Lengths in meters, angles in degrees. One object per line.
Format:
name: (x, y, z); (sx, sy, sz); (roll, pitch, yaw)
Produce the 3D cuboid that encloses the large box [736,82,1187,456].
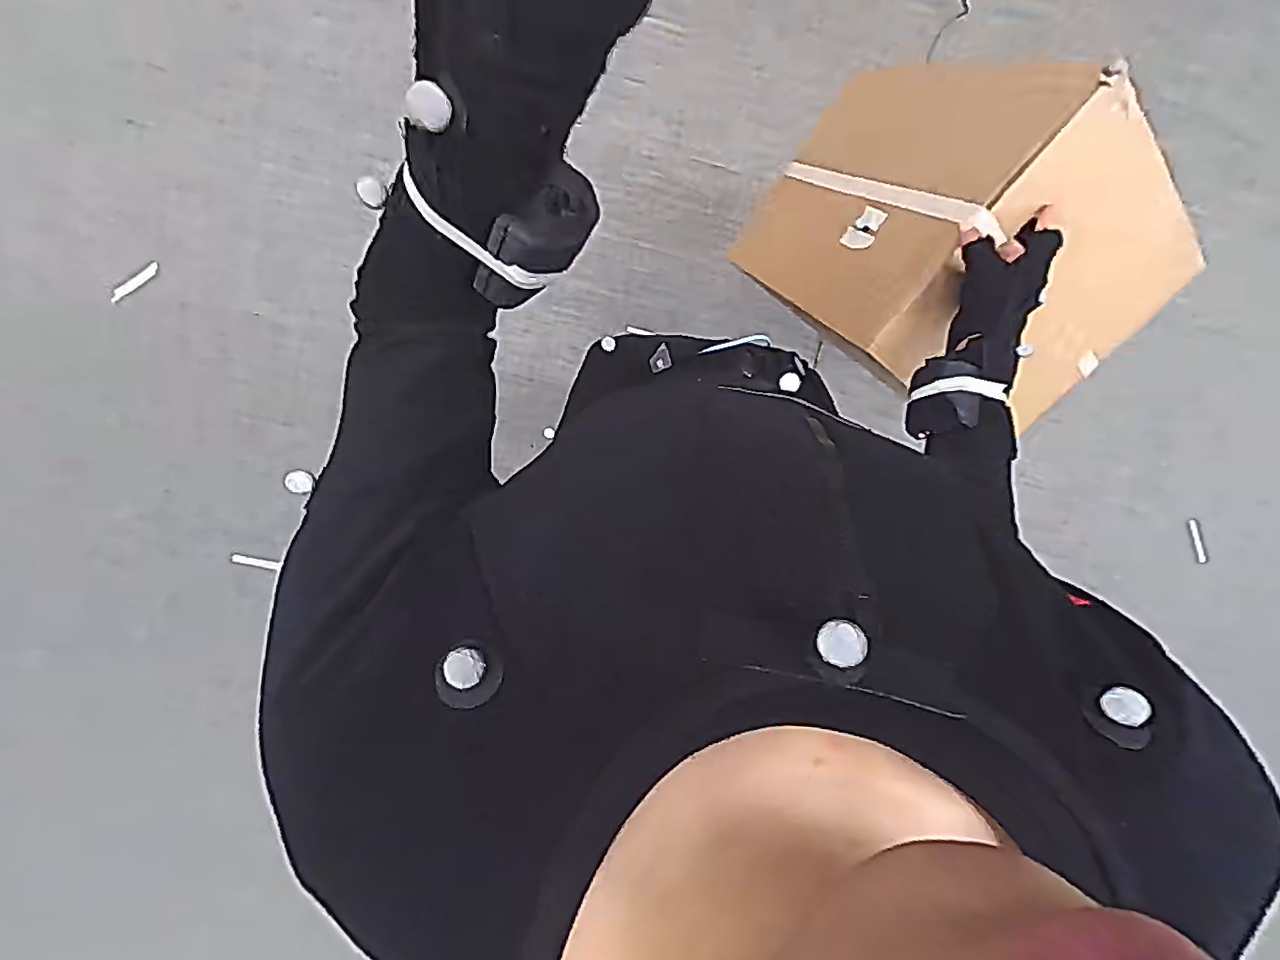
large box: (0.408, -0.306, 0.773); (0.320, 0.408, 0.320); (26, 115, -30)
